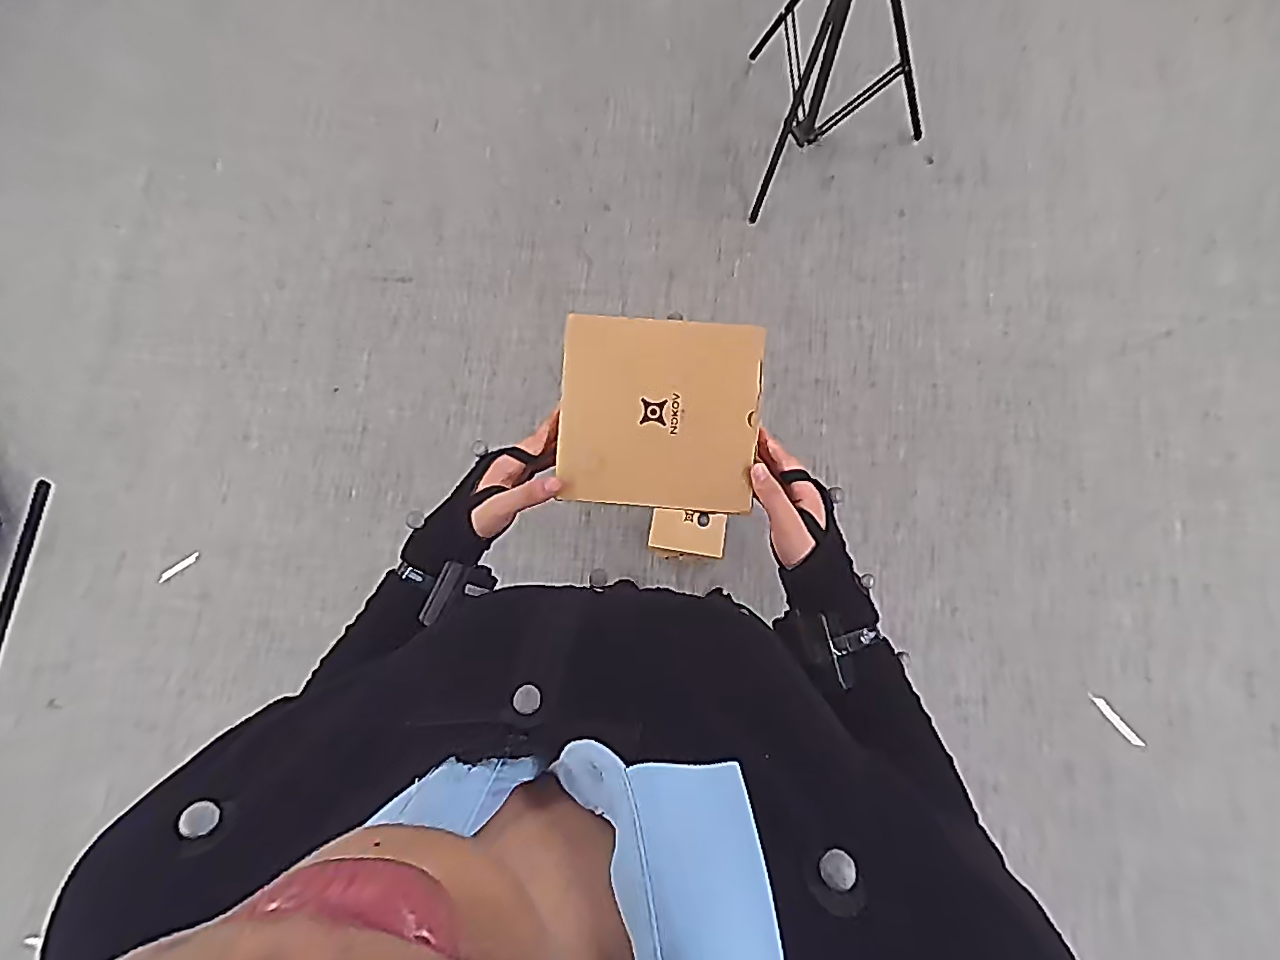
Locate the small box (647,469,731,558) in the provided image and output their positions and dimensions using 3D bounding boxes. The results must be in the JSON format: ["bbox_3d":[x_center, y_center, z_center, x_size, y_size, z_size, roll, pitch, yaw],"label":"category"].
[{"bbox_3d":[0.116,0.087,1.282,0.168,0.176,0.179,9,80,5],"label":"small box"}]
